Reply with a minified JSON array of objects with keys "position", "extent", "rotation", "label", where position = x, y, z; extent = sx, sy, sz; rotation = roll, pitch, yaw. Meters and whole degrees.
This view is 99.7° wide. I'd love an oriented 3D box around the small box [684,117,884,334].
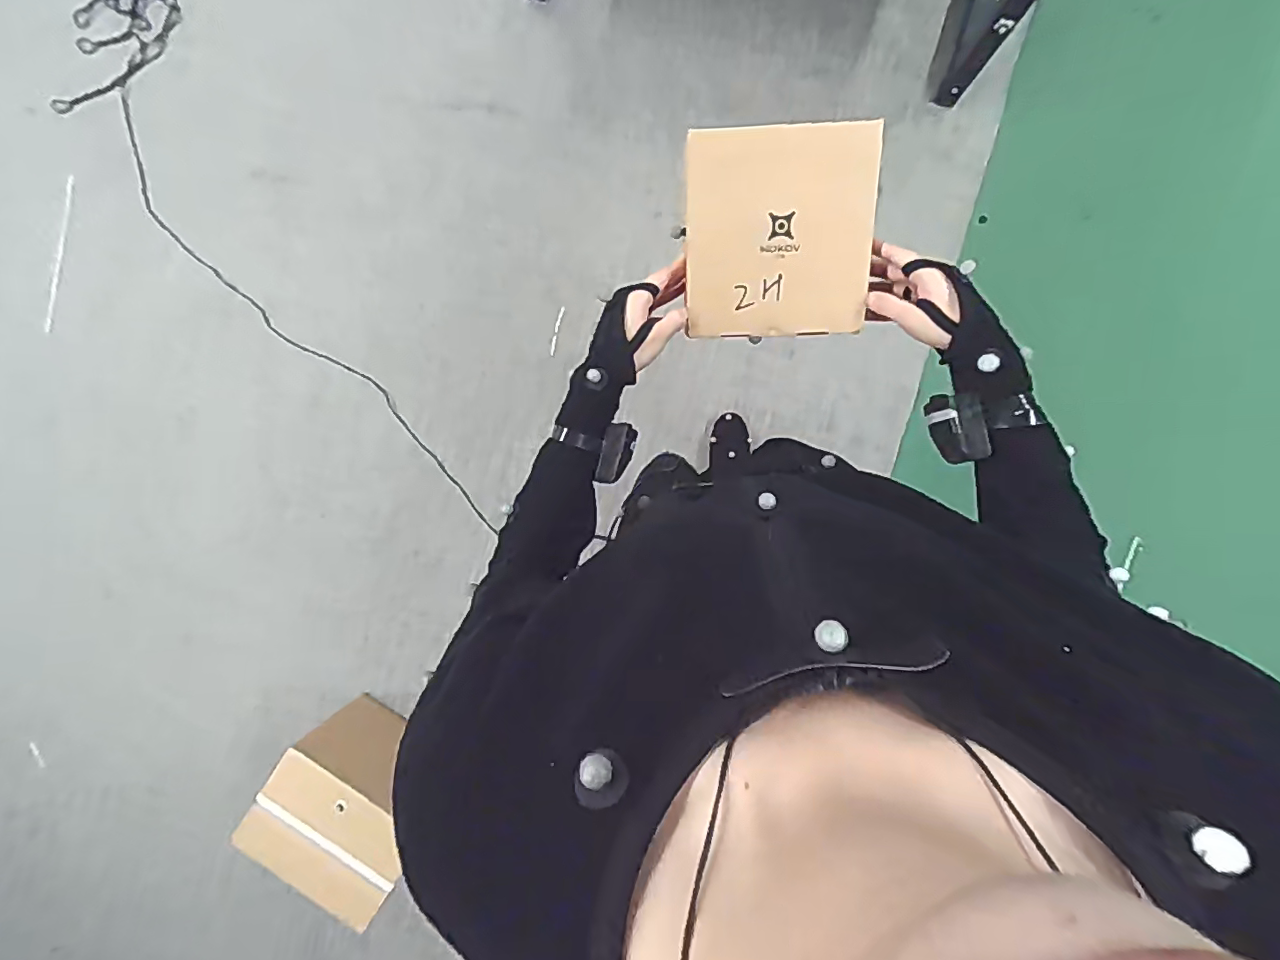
[{"position":[0.130,-0.246,0.557],"extent":[0.168,0.176,0.179],"rotation":[0,109,4],"label":"small box"}]
